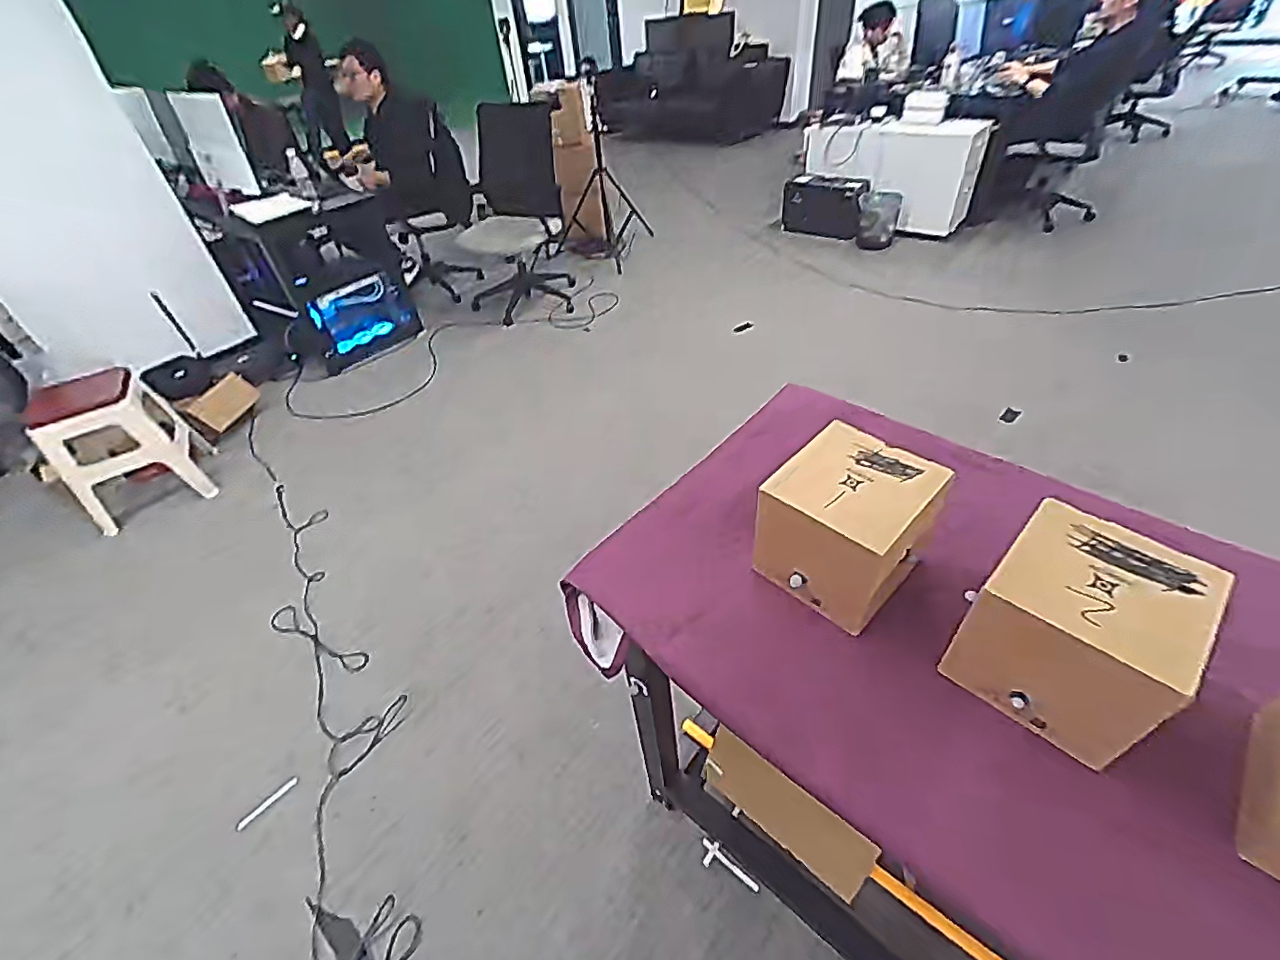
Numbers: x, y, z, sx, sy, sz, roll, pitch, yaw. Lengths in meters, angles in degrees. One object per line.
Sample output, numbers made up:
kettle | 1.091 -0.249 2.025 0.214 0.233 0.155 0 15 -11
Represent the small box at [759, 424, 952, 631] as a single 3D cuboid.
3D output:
small box | 0.272 0.061 0.718 0.179 0.176 0.168 -36 50 -27
